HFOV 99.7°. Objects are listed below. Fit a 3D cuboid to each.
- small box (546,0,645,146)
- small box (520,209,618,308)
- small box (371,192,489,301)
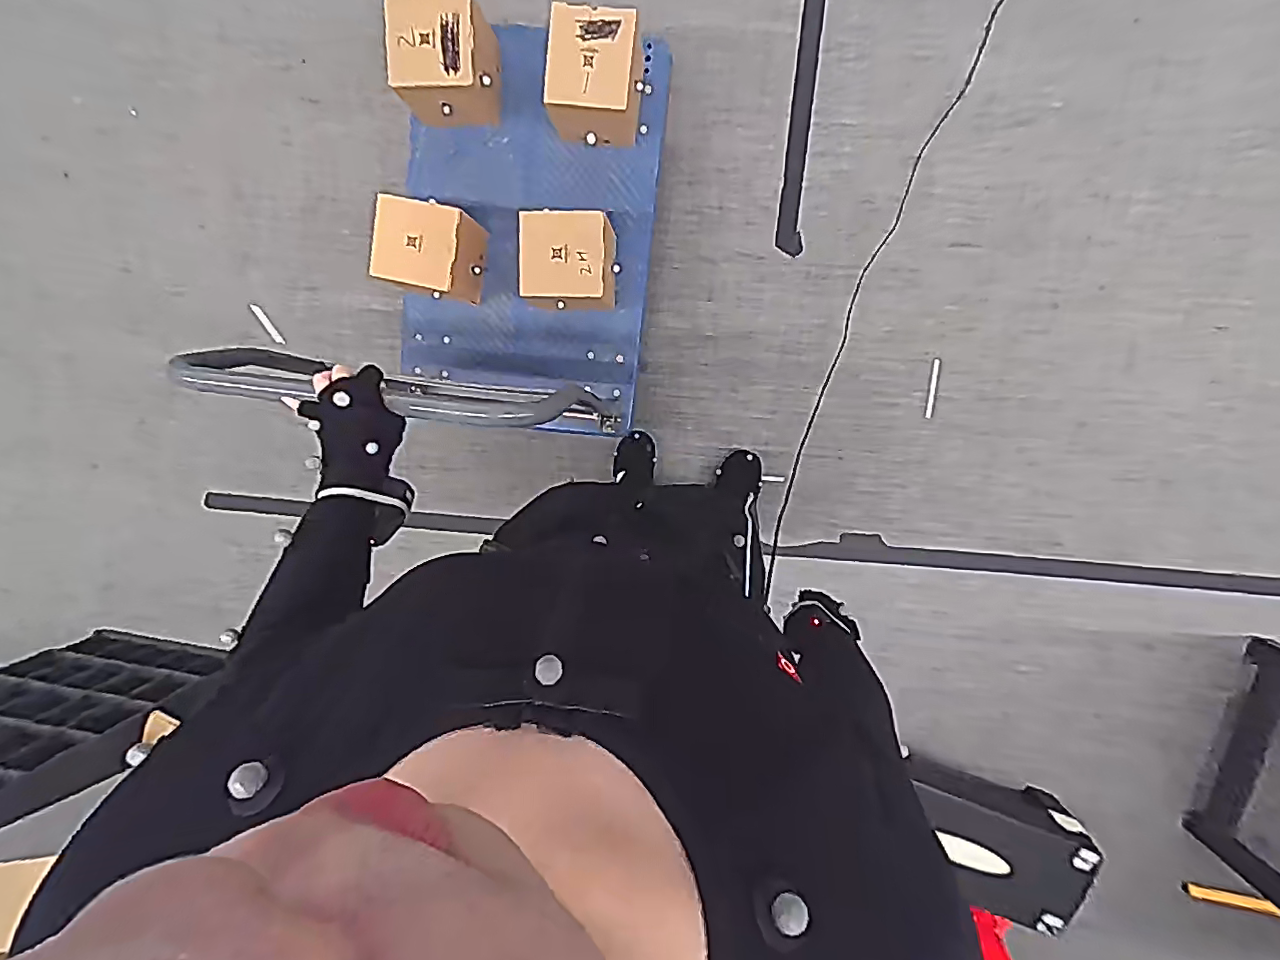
[{"bbox_3d":[-0.084,-0.818,1.099,0.168,0.176,0.179,8,101,4],"label":"small box"},{"bbox_3d":[-0.147,-0.468,1.160,0.179,0.176,0.168,3,100,5],"label":"small box"},{"bbox_3d":[-0.452,-0.501,1.183,0.179,0.176,0.168,12,99,1],"label":"small box"}]
